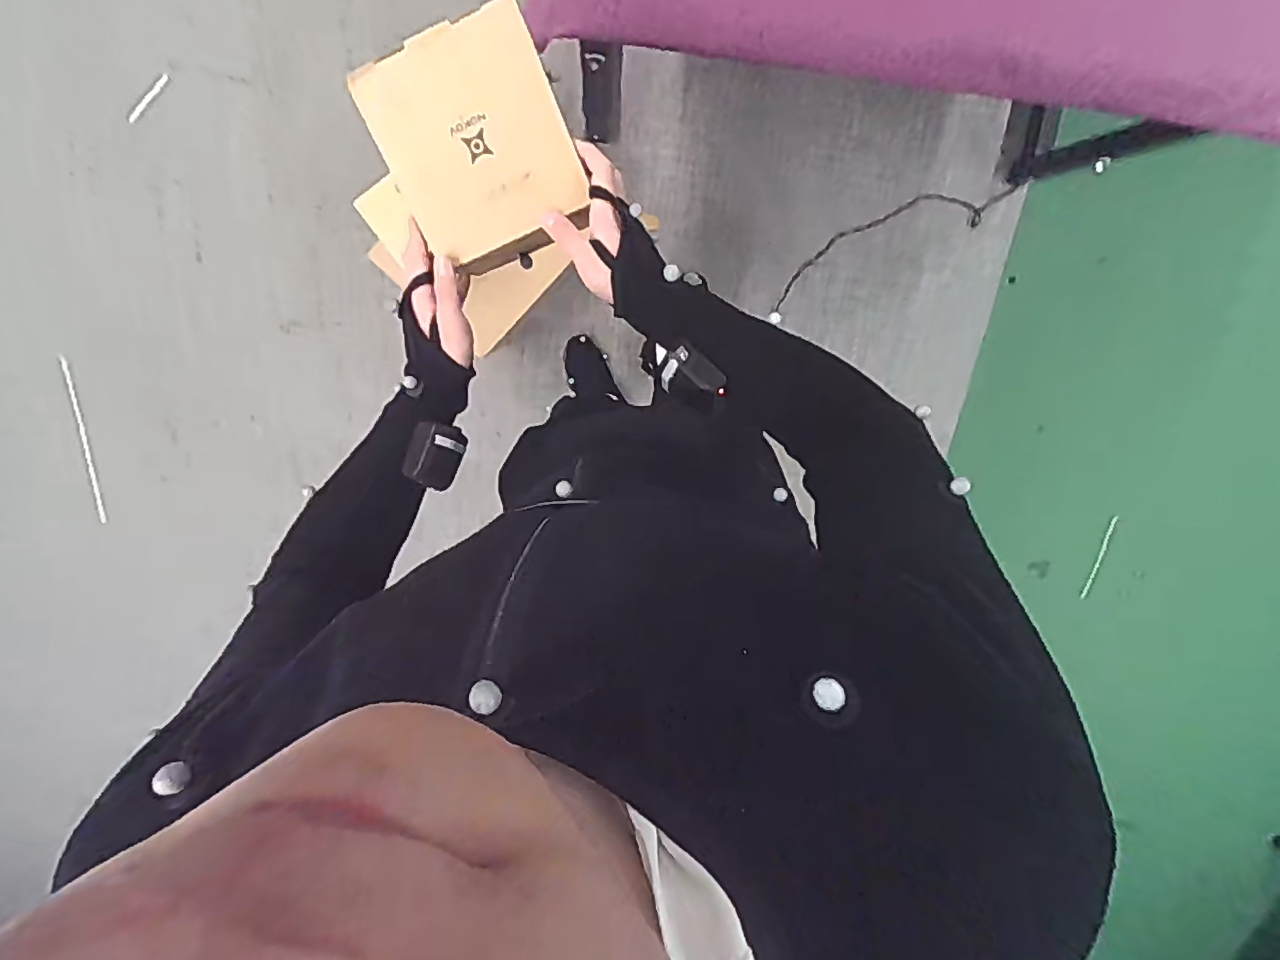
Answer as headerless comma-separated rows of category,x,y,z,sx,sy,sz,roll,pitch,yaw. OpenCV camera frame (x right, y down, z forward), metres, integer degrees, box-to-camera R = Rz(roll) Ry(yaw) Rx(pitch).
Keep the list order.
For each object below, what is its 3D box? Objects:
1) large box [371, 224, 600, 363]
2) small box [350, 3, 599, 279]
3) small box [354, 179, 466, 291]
large box,-0.338,-0.540,1.280,0.320,0.320,0.408,42,100,-17
small box,-0.150,-0.322,0.559,0.168,0.176,0.179,-21,109,5
small box,-0.394,-0.480,1.038,0.179,0.176,0.168,-33,106,7
